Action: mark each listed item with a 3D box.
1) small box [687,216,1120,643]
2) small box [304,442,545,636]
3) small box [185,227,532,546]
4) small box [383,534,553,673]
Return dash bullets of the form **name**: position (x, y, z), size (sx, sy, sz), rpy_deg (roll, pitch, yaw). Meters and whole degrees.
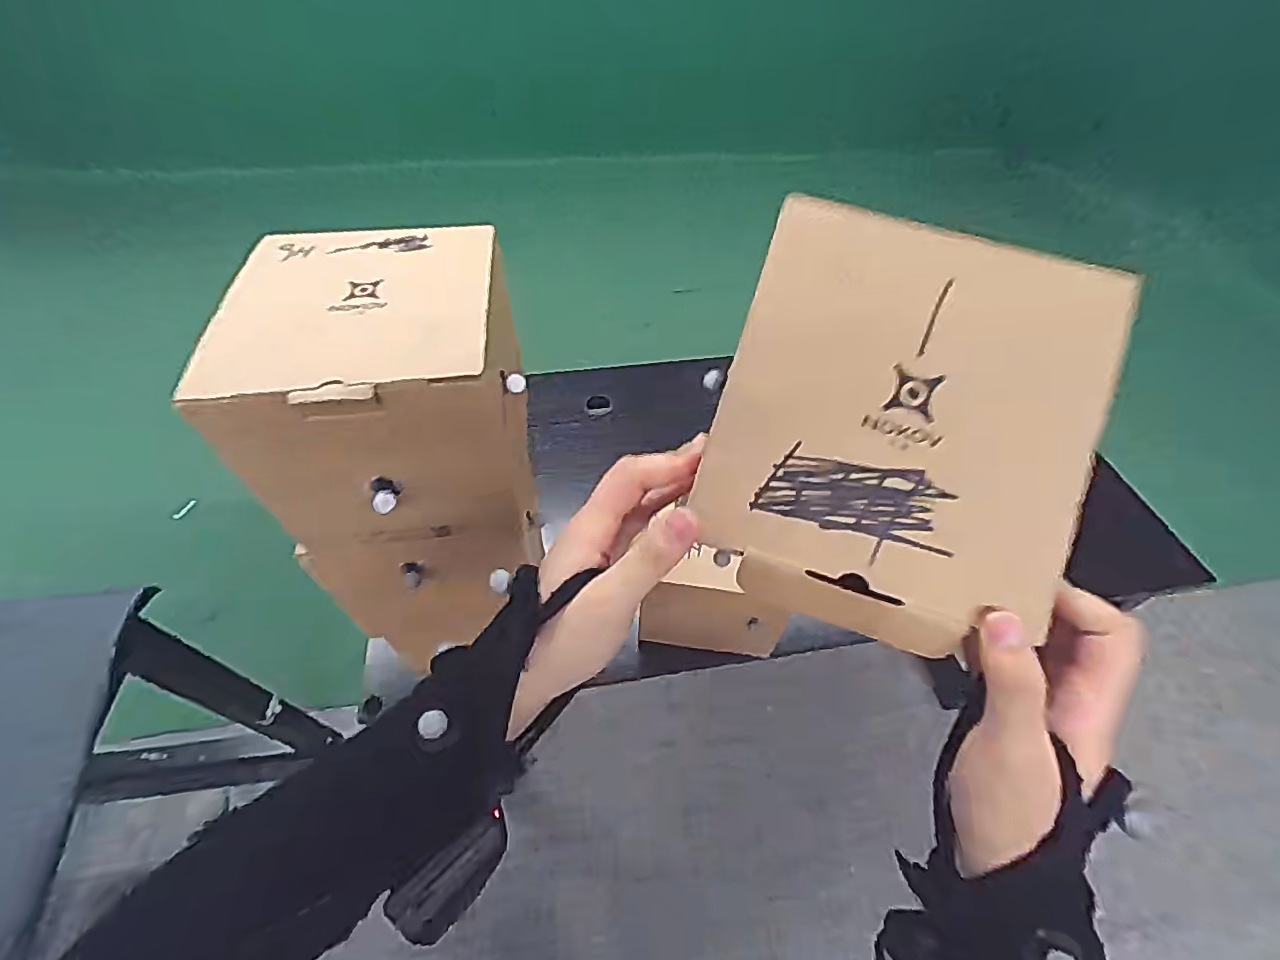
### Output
- **small box**: position (0.134, -0.021, 0.340), size (0.168, 0.176, 0.179), rpy_deg (18, 85, 7)
- **small box**: position (-0.189, 0.039, 0.537), size (0.179, 0.176, 0.168), rpy_deg (-6, 53, -7)
- **small box**: position (-0.175, -0.062, 0.408), size (0.168, 0.176, 0.179), rpy_deg (-5, 53, -5)
- **small box**: position (-0.202, 0.128, 0.674), size (0.168, 0.176, 0.179), rpy_deg (-6, 52, -7)
